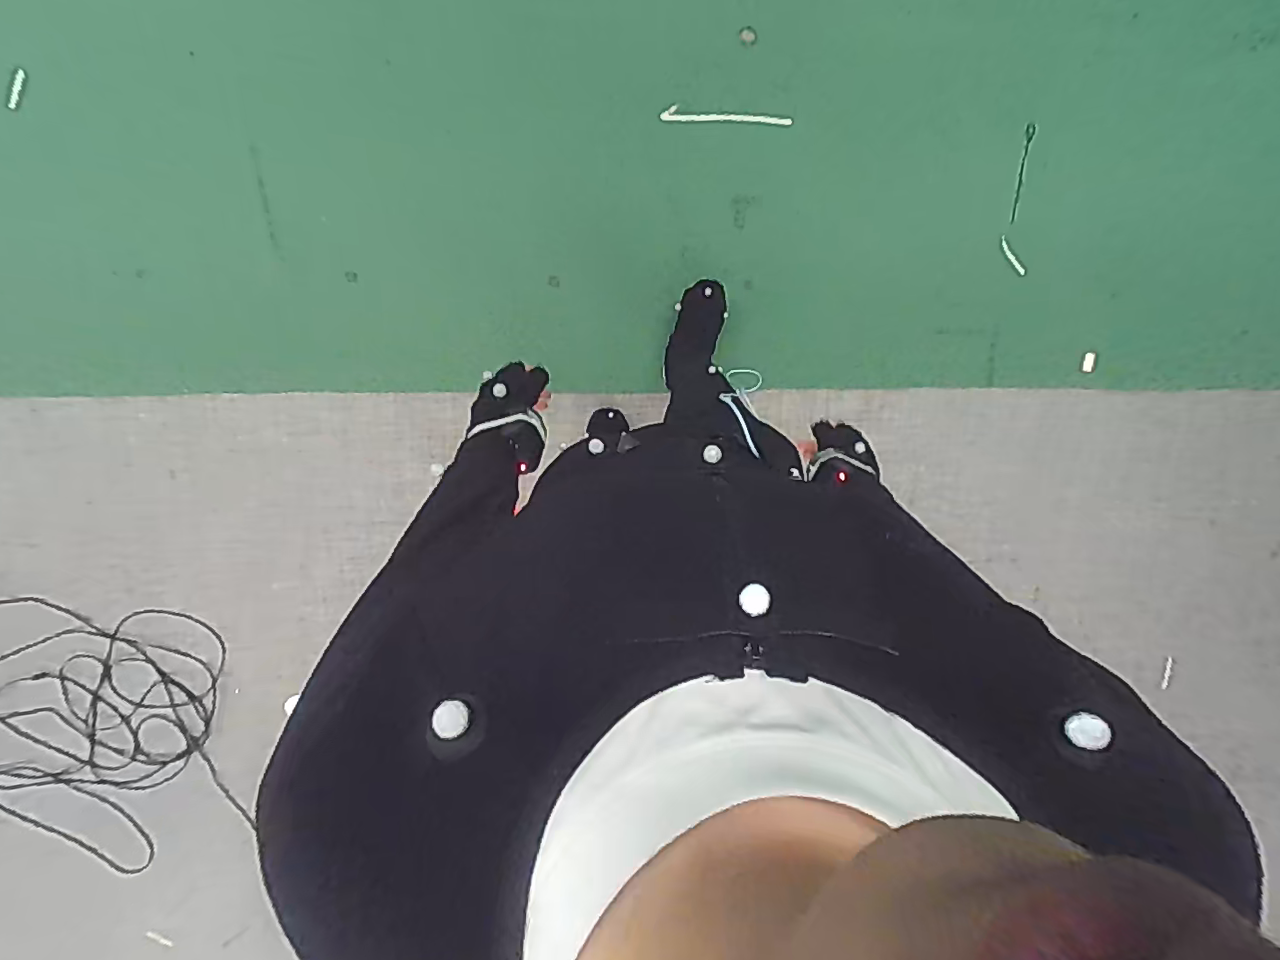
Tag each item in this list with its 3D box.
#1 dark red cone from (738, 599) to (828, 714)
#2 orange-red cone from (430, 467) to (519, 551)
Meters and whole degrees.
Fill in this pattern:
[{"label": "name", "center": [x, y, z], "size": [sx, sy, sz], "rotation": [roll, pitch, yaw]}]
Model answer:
[{"label": "dark red cone", "center": [0.389, 0.465, 1.375], "size": [0.202, 0.394, 0.201], "rotation": [-6, 100, -2]}, {"label": "orange-red cone", "center": [-0.419, 0.097, 1.284], "size": [0.198, 0.360, 0.199], "rotation": [0, 102, -2]}]
